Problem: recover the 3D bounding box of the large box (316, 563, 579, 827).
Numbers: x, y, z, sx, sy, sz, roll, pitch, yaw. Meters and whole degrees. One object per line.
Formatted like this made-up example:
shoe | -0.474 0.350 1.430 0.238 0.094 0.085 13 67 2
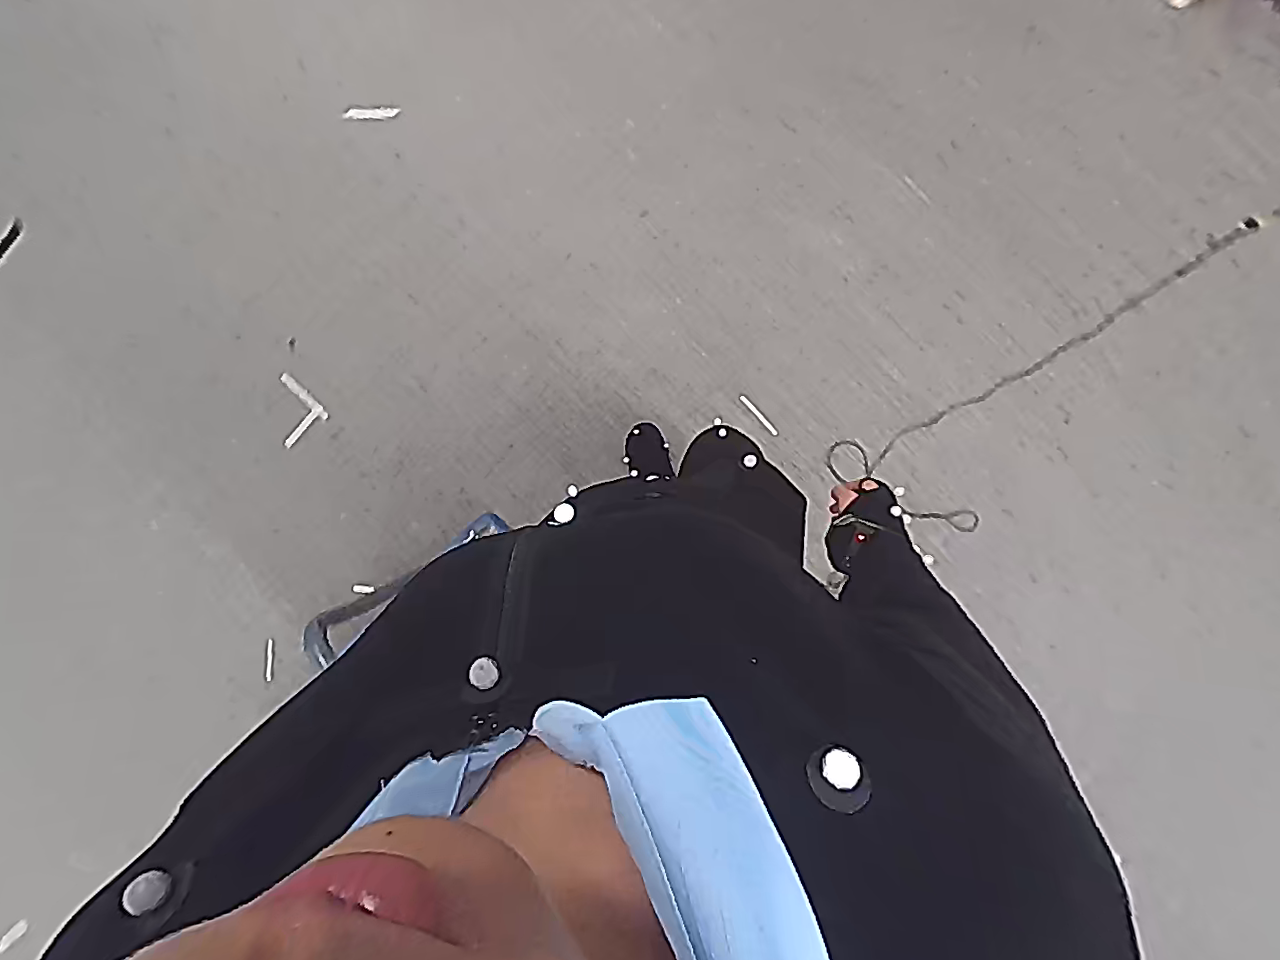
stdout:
large box | -0.406 0.459 1.236 0.408 0.320 0.320 43 96 1
